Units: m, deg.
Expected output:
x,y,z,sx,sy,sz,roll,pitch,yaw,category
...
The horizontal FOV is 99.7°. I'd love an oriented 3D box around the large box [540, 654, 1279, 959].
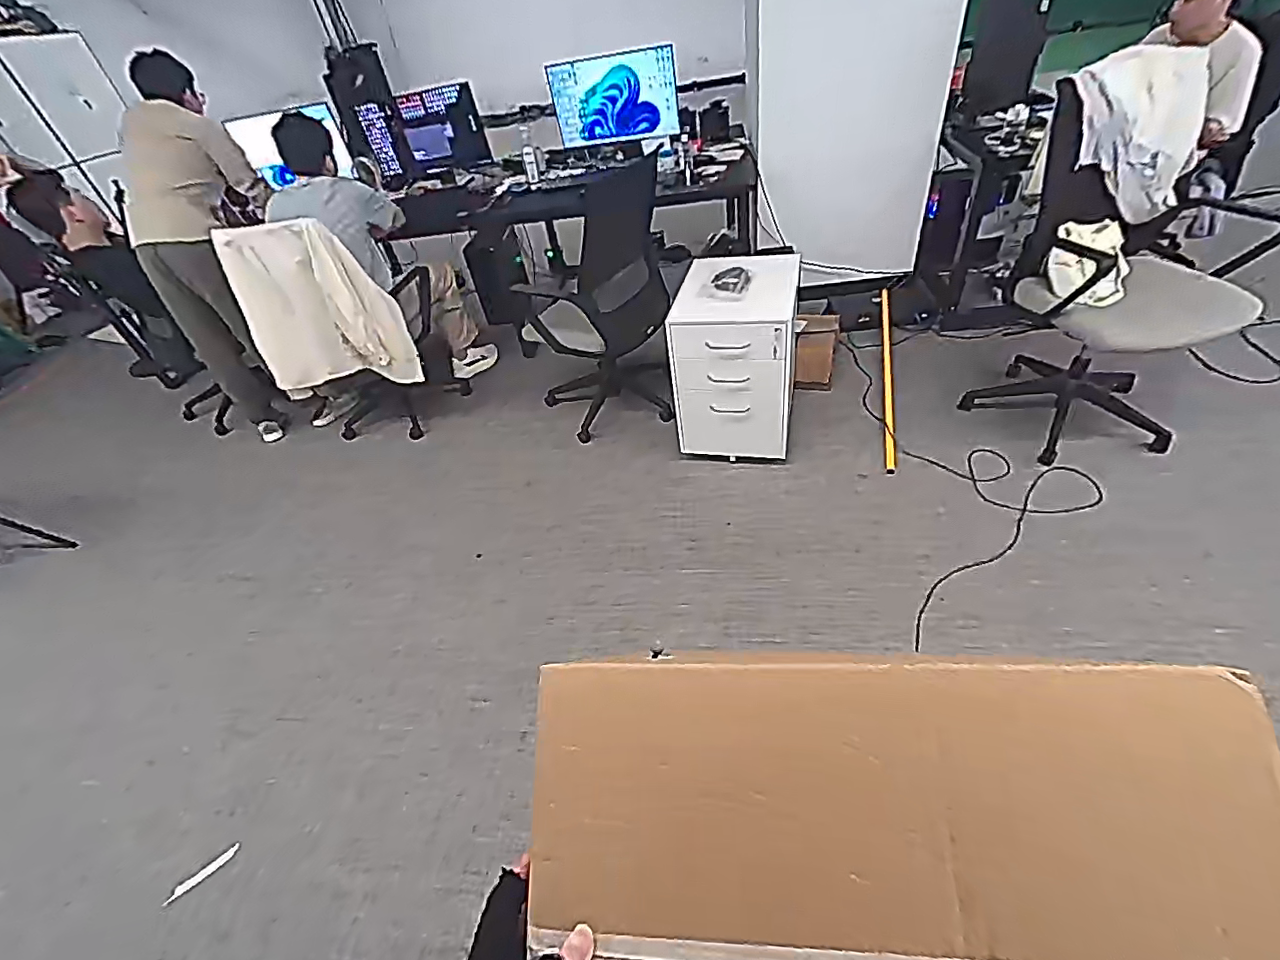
x,y,z,sx,sy,sz,roll,pitch,yaw,category
0.159,0.307,0.438,0.408,0.320,0.320,-3,74,10,large box
